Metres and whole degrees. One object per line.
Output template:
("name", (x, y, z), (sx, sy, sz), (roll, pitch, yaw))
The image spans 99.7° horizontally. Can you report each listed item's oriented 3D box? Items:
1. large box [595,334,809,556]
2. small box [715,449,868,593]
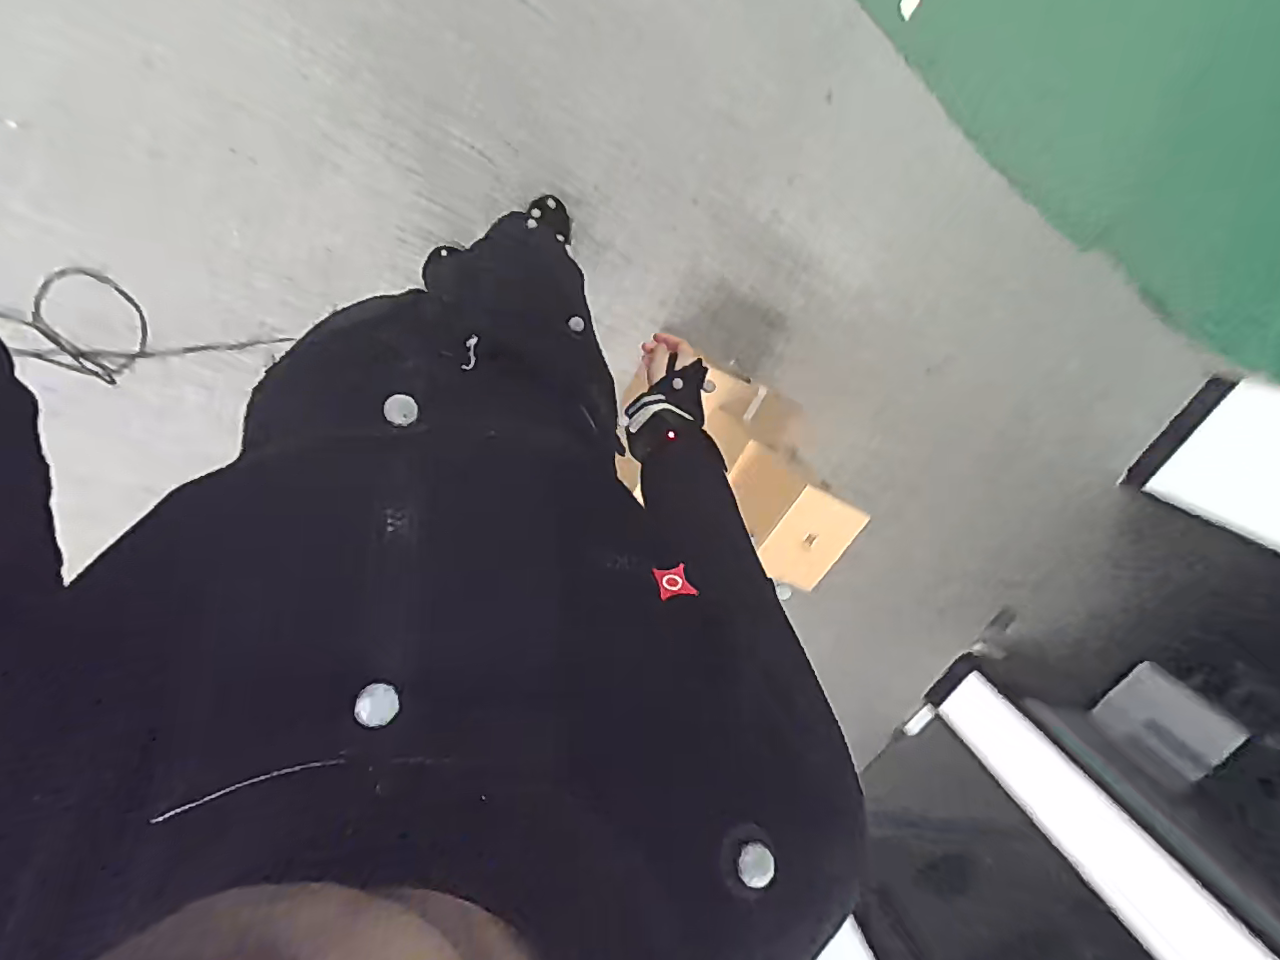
("large box", (0.128, -0.089, 1.339), (0.320, 0.320, 0.408), (20, 111, -25))
("small box", (0.264, 0.070, 0.987), (0.168, 0.176, 0.179), (24, 109, -27))
